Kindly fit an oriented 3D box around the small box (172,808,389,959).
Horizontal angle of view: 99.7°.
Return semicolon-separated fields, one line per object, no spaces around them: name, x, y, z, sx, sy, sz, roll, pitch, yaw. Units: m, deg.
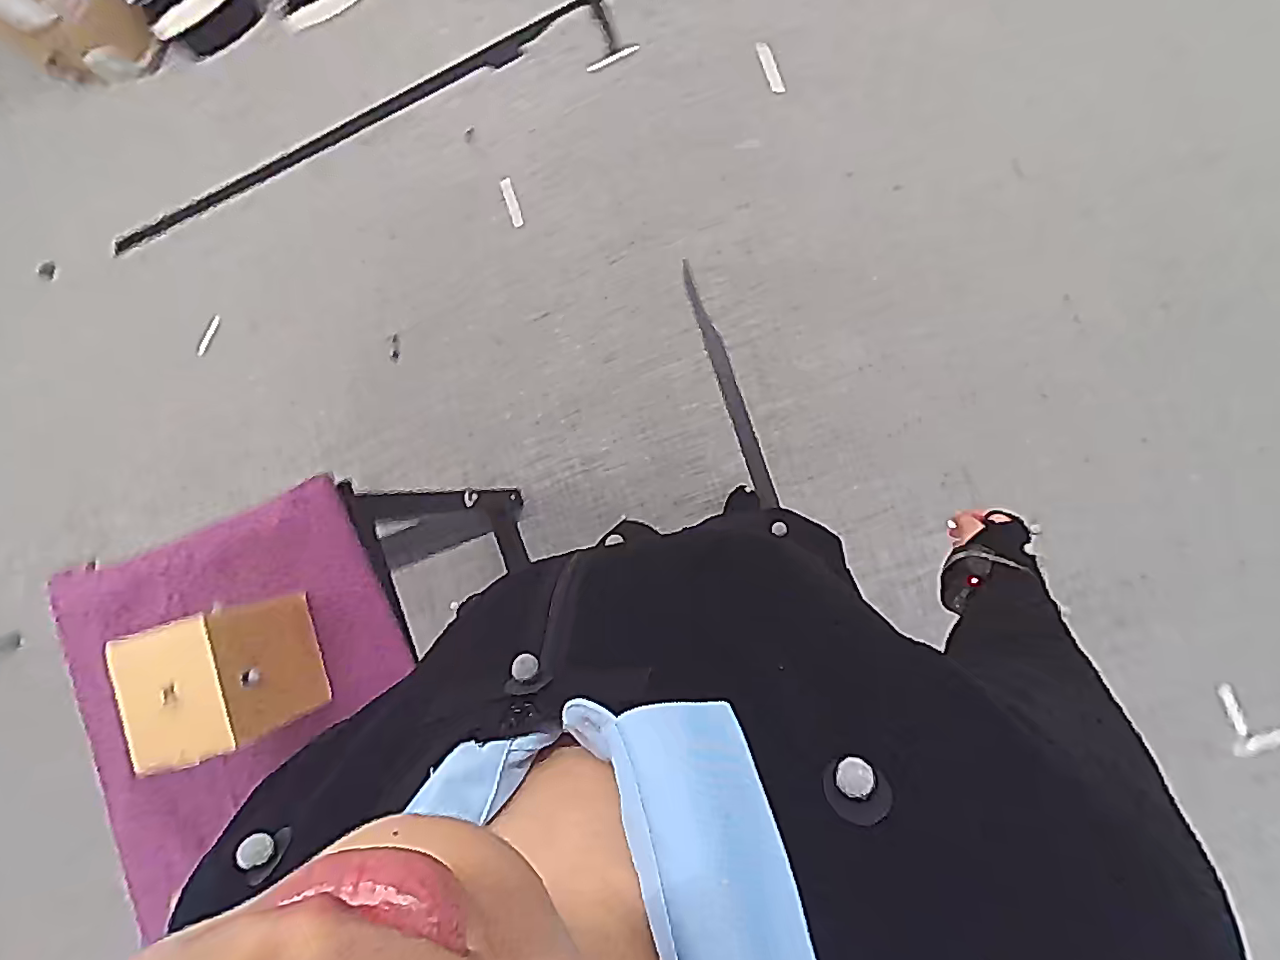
small box;-0.482;0.600;0.750;0.168;0.176;0.179;-18;86;8

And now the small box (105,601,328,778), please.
small box;-0.591;0.283;0.774;0.168;0.176;0.179;-18;87;10
